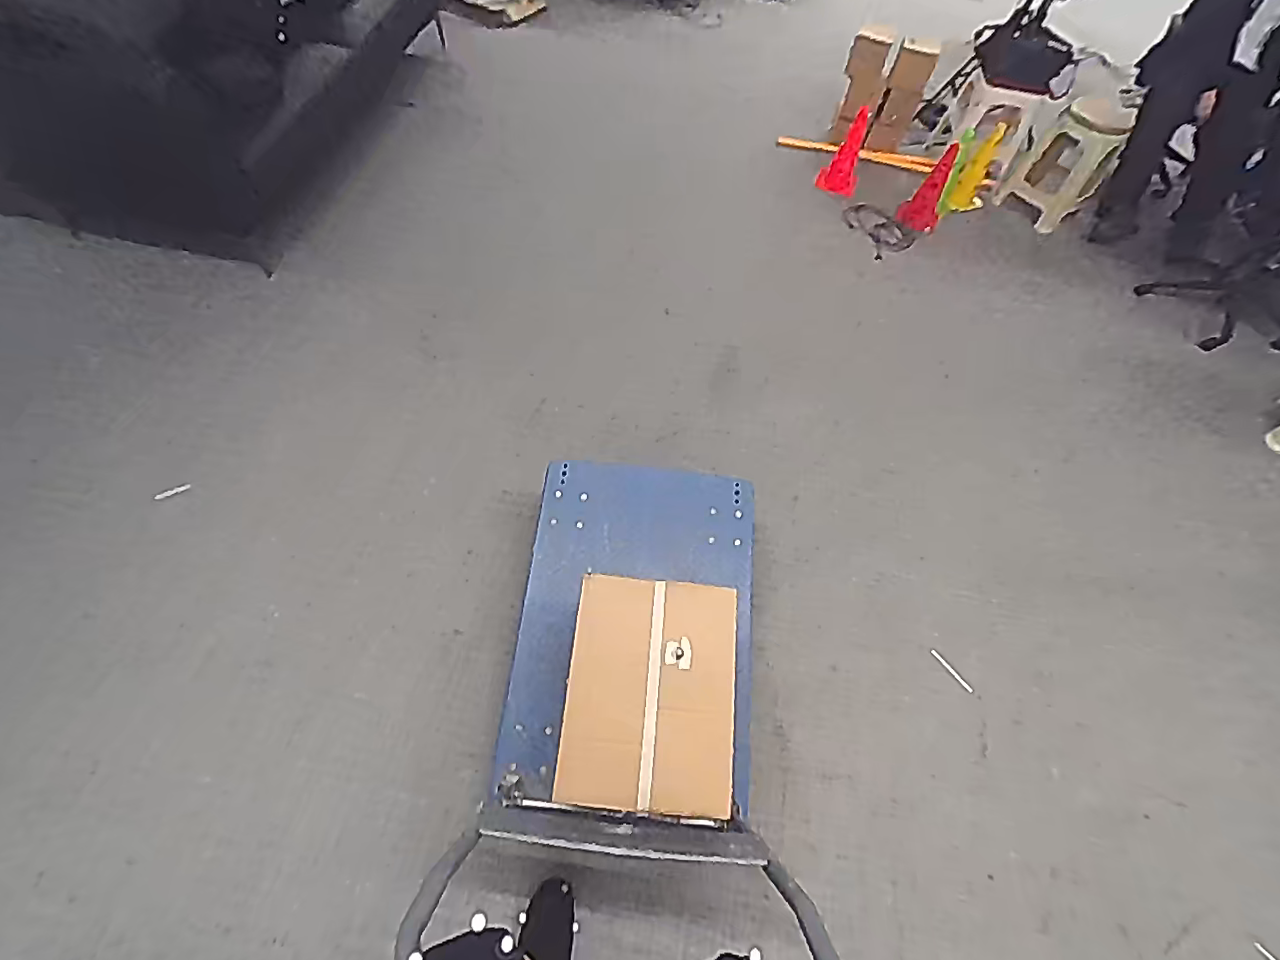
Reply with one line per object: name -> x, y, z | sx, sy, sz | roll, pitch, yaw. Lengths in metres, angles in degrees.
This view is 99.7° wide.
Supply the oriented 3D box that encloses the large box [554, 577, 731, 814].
large box -> 0.010, 0.448, 1.150 | 0.320, 0.320, 0.408 | 6, 67, -2
